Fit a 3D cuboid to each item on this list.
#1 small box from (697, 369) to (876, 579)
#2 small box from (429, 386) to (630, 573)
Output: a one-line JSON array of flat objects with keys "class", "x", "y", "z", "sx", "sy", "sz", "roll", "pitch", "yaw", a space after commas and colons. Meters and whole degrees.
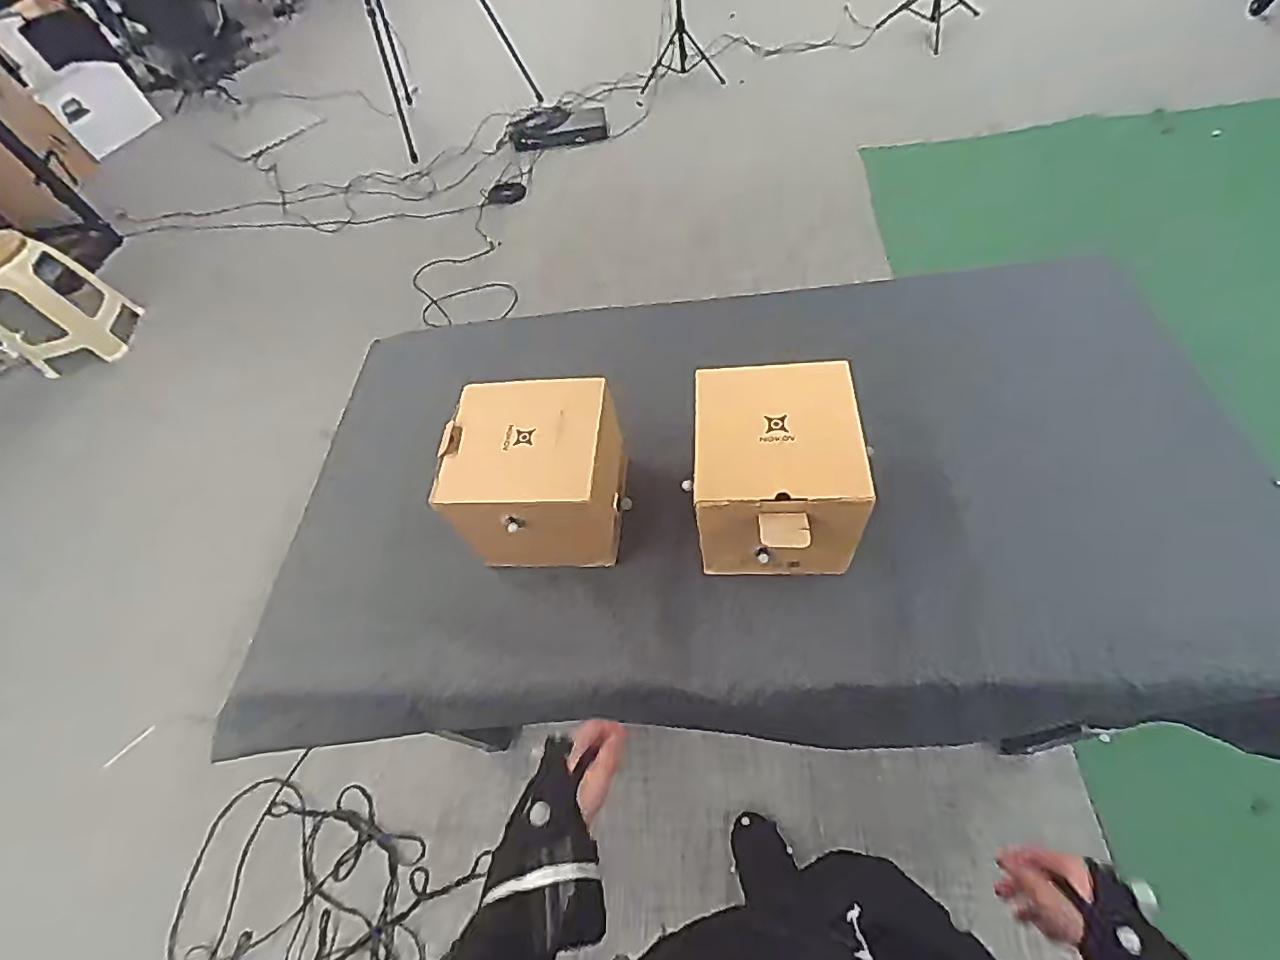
[{"class": "small box", "x": 0.150, "y": -0.002, "z": 0.613, "sx": 0.168, "sy": 0.176, "sz": 0.179, "roll": -2, "pitch": 57, "yaw": 8}, {"class": "small box", "x": -0.116, "y": 0.005, "z": 0.655, "sx": 0.179, "sy": 0.176, "sz": 0.168, "roll": 0, "pitch": 57, "yaw": 9}]
